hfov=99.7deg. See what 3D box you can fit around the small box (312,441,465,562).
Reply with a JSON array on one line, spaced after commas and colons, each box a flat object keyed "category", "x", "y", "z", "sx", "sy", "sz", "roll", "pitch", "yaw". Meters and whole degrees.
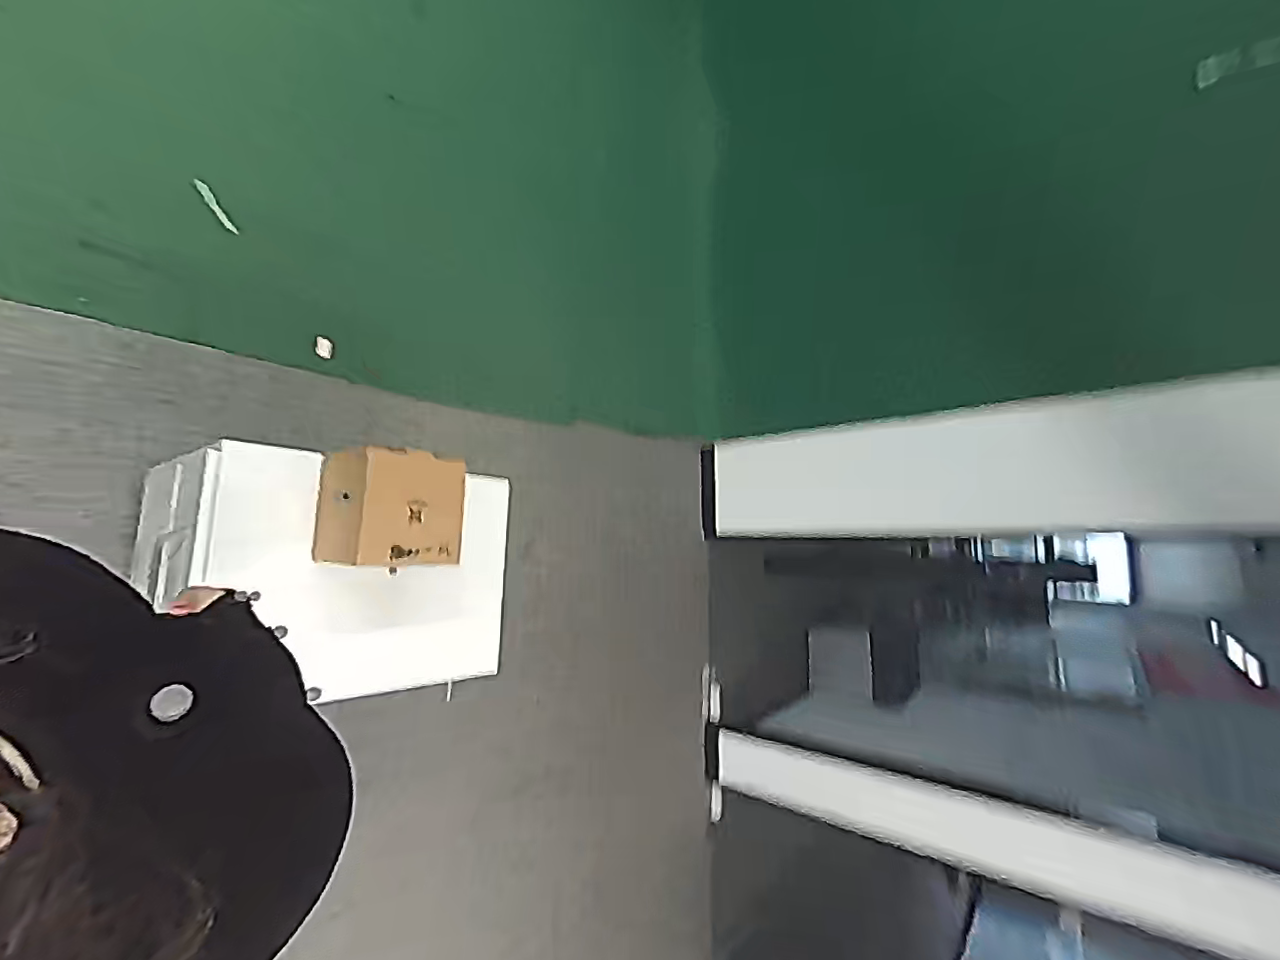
[{"category": "small box", "x": -0.410, "y": 0.042, "z": 0.882, "sx": 0.168, "sy": 0.176, "sz": 0.179, "roll": 11, "pitch": 80, "yaw": -50}]
